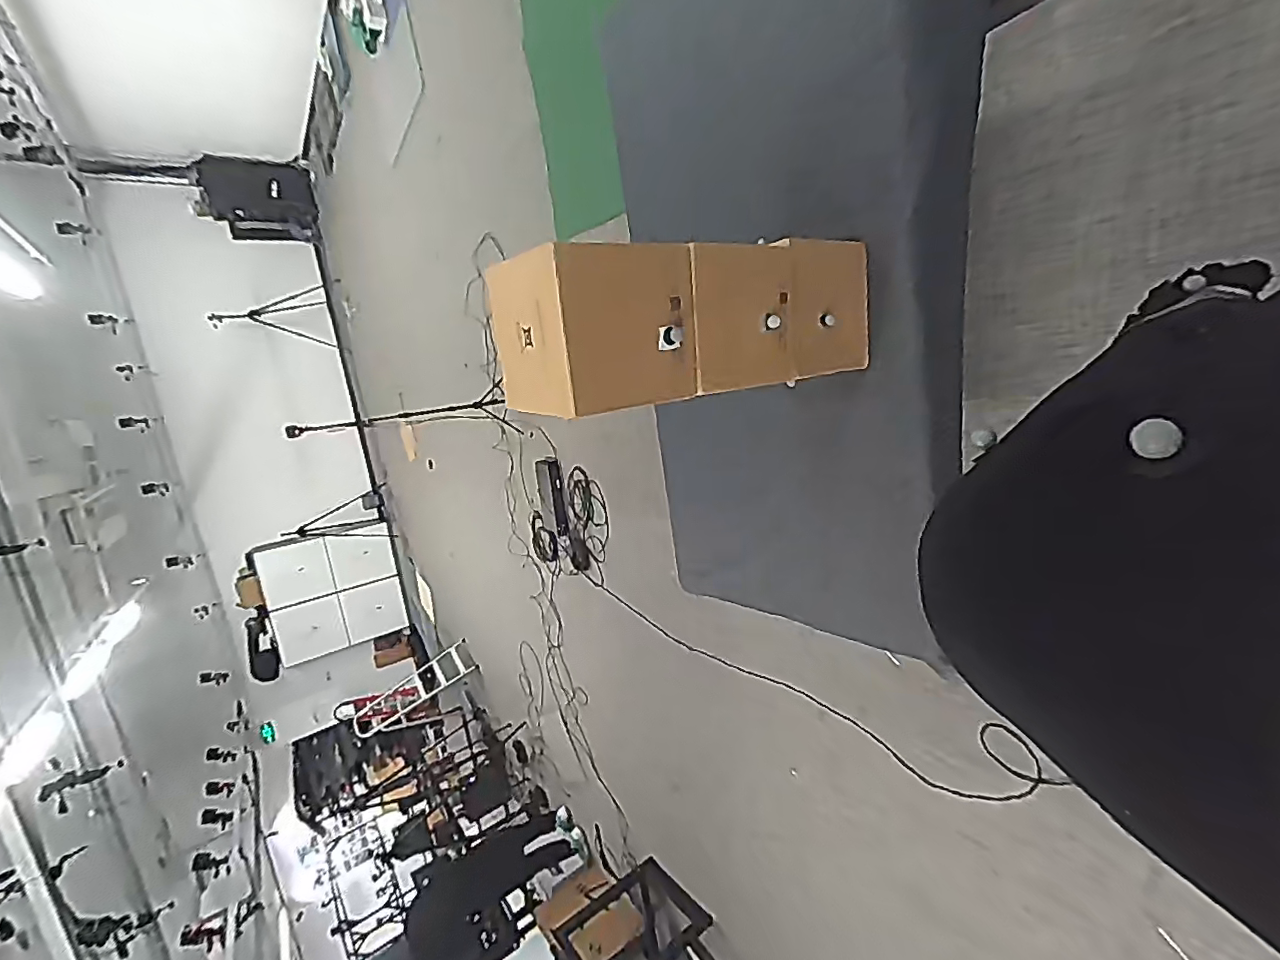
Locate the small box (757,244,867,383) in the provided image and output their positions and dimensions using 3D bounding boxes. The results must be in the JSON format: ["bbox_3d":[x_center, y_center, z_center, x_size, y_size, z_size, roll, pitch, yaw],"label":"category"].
[{"bbox_3d":[0.219,-0.243,0.805,0.168,0.176,0.179,11,112,55],"label":"small box"}]

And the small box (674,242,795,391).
[{"bbox_3d":[0.082,-0.208,0.721,0.179,0.176,0.168,12,112,56],"label":"small box"}]

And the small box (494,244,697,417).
[{"bbox_3d":[-0.051,-0.173,0.636,0.179,0.176,0.168,14,115,53],"label":"small box"}]
